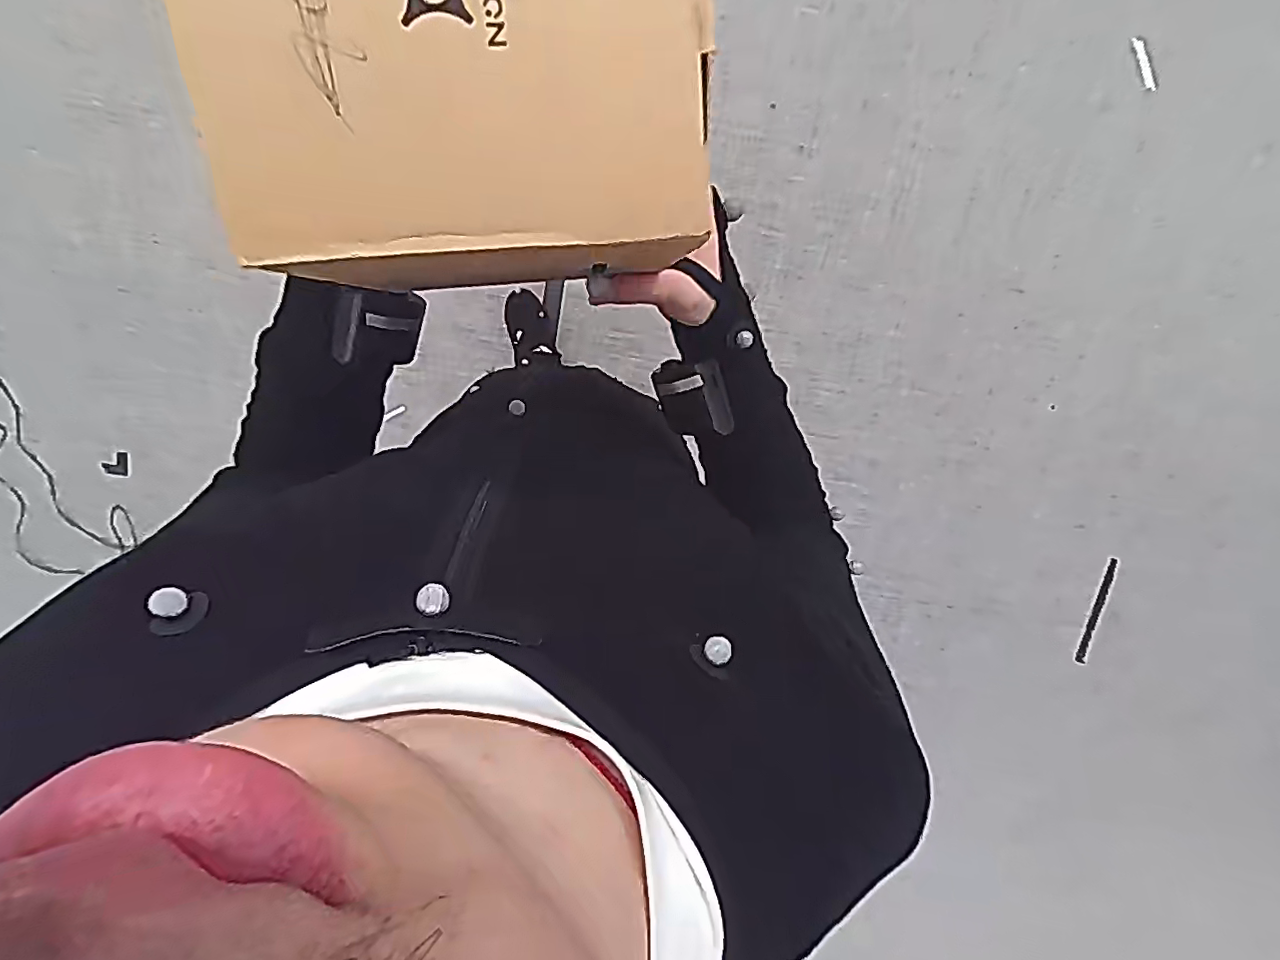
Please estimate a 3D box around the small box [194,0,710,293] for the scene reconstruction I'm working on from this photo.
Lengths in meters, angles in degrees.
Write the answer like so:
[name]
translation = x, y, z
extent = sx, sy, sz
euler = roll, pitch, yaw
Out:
[small box]
translation = -0.072, -0.188, 0.265
extent = 0.179, 0.176, 0.168
euler = -6, 106, -4
